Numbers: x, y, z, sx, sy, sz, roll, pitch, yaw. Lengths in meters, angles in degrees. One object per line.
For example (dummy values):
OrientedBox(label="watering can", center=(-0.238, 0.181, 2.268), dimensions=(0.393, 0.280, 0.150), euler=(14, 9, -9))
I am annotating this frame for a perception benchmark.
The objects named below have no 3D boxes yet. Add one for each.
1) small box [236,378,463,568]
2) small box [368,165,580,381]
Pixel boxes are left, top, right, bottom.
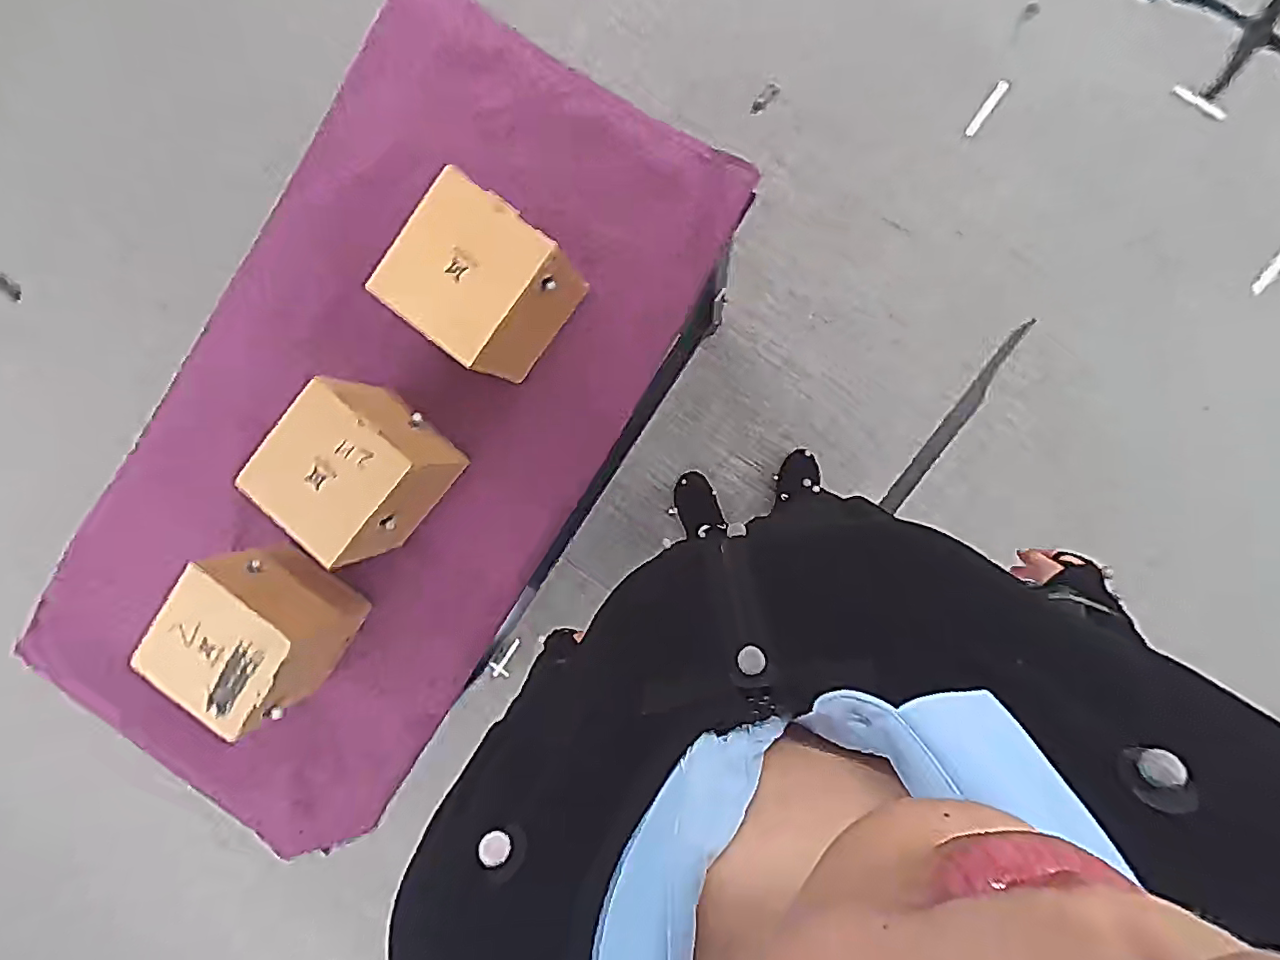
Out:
OrientedBox(label="small box", center=(-0.377, -0.010, 0.735), dimensions=(0.168, 0.176, 0.179), euler=(42, 96, 2))
OrientedBox(label="small box", center=(-0.200, -0.250, 0.705), dimensions=(0.168, 0.176, 0.179), euler=(38, 96, 4))
